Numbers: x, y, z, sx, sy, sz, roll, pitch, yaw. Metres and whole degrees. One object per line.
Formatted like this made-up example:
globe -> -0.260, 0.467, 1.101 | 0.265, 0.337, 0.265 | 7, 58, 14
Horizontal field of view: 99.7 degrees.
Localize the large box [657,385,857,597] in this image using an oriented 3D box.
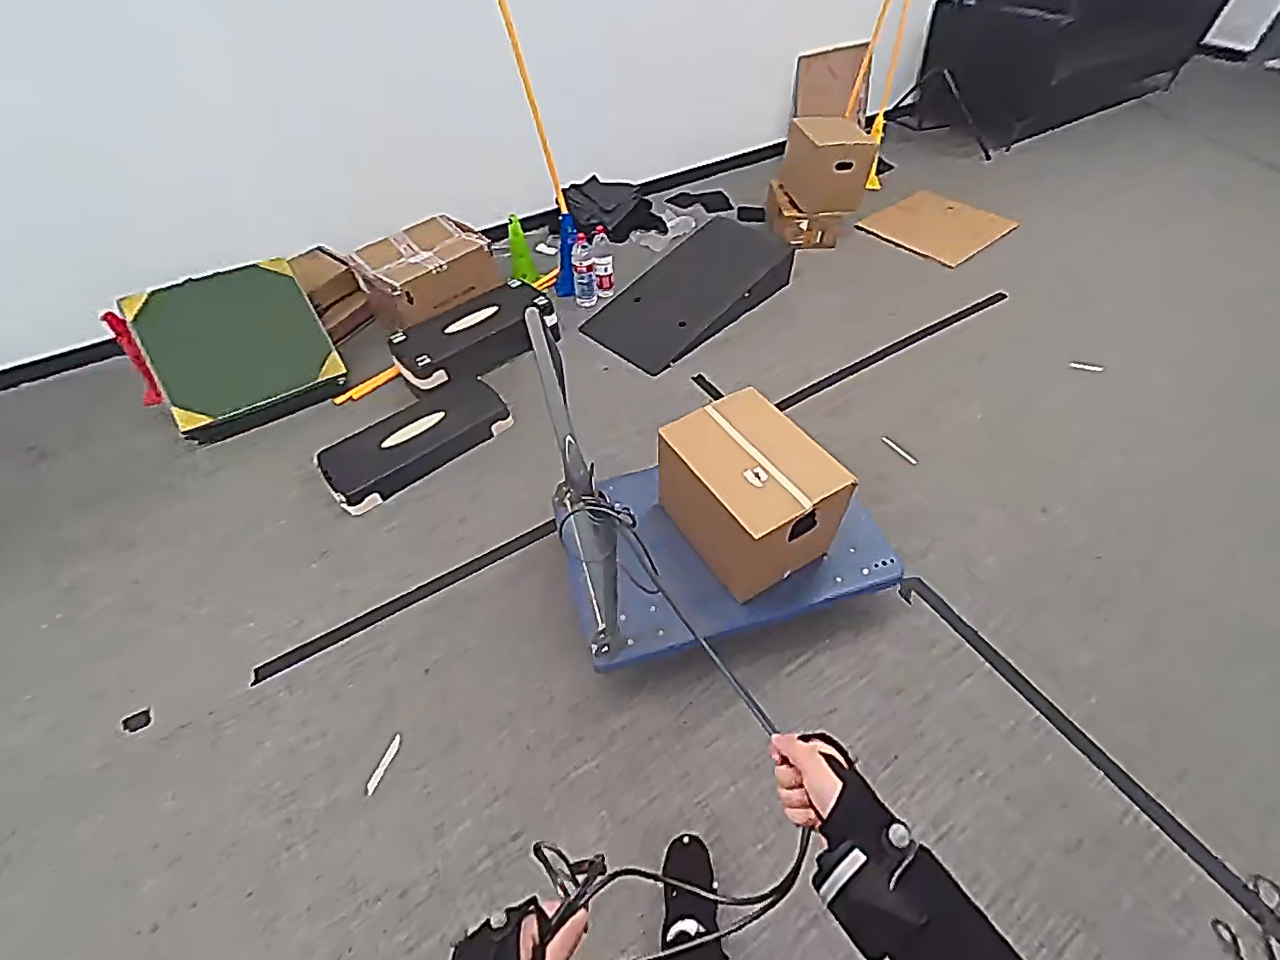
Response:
large box -> 0.278, 0.024, 1.437 | 0.320, 0.320, 0.408 | -27, 56, -17
